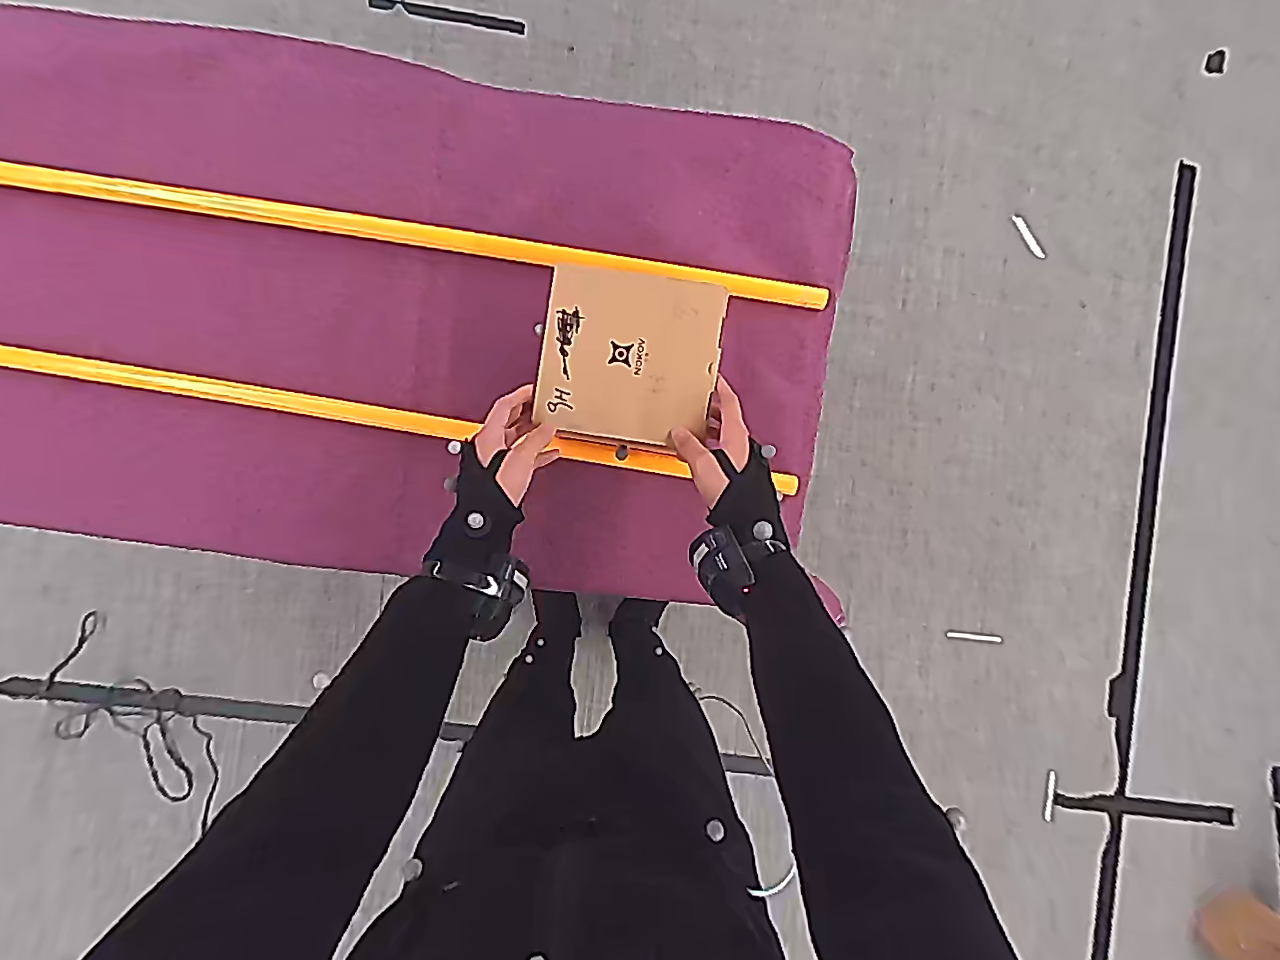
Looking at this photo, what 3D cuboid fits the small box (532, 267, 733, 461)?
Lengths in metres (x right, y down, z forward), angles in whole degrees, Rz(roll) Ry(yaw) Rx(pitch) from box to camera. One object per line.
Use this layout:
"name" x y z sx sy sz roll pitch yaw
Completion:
"small box" -0.008 -0.116 0.607 0.179 0.176 0.168 9 91 1
